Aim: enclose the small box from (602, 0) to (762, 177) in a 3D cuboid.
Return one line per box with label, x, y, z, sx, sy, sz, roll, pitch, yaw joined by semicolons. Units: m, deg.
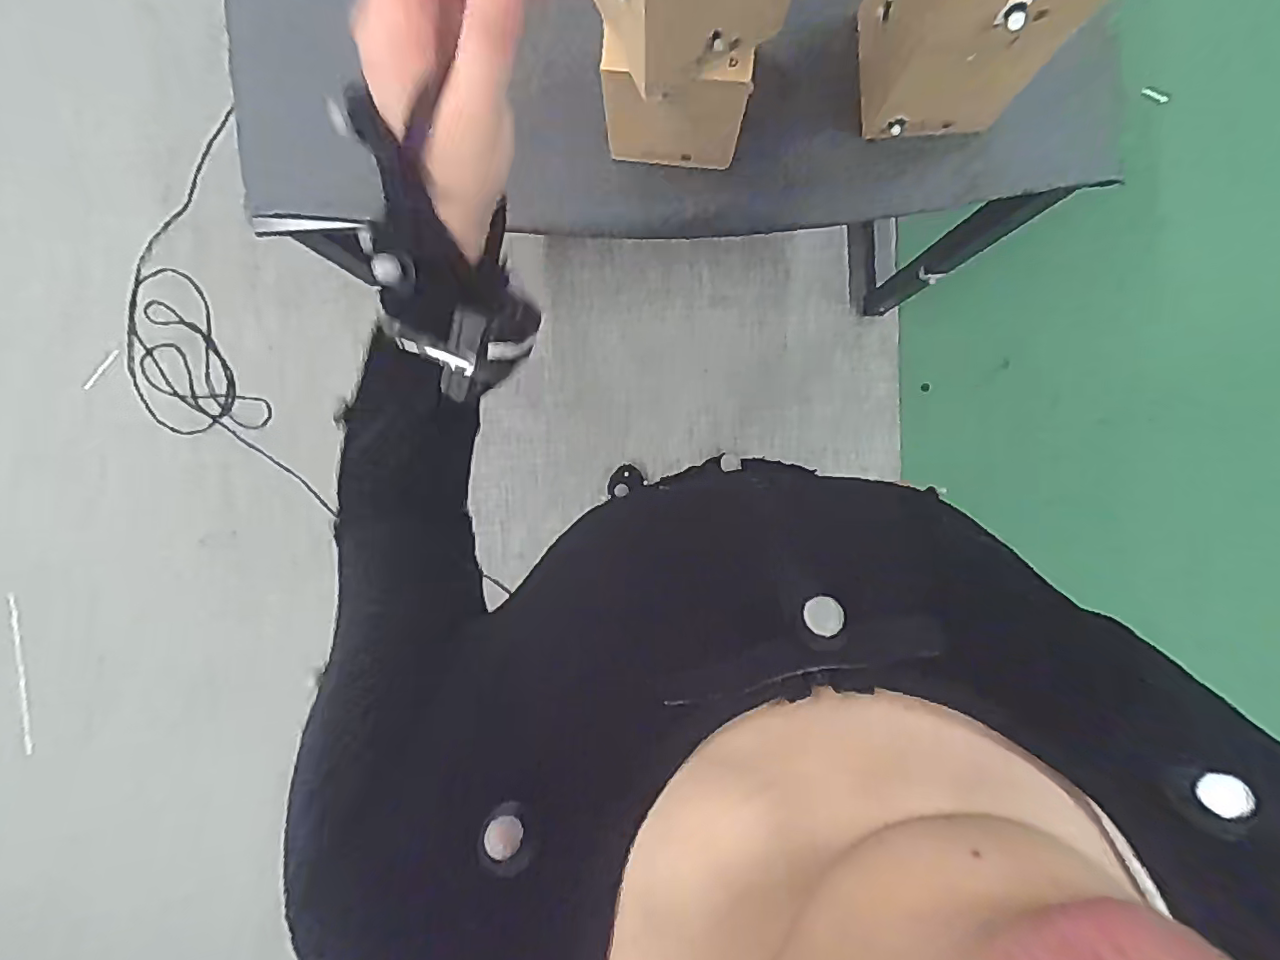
small box;0.049;-0.512;0.664;0.168;0.176;0.179;6;90;1
